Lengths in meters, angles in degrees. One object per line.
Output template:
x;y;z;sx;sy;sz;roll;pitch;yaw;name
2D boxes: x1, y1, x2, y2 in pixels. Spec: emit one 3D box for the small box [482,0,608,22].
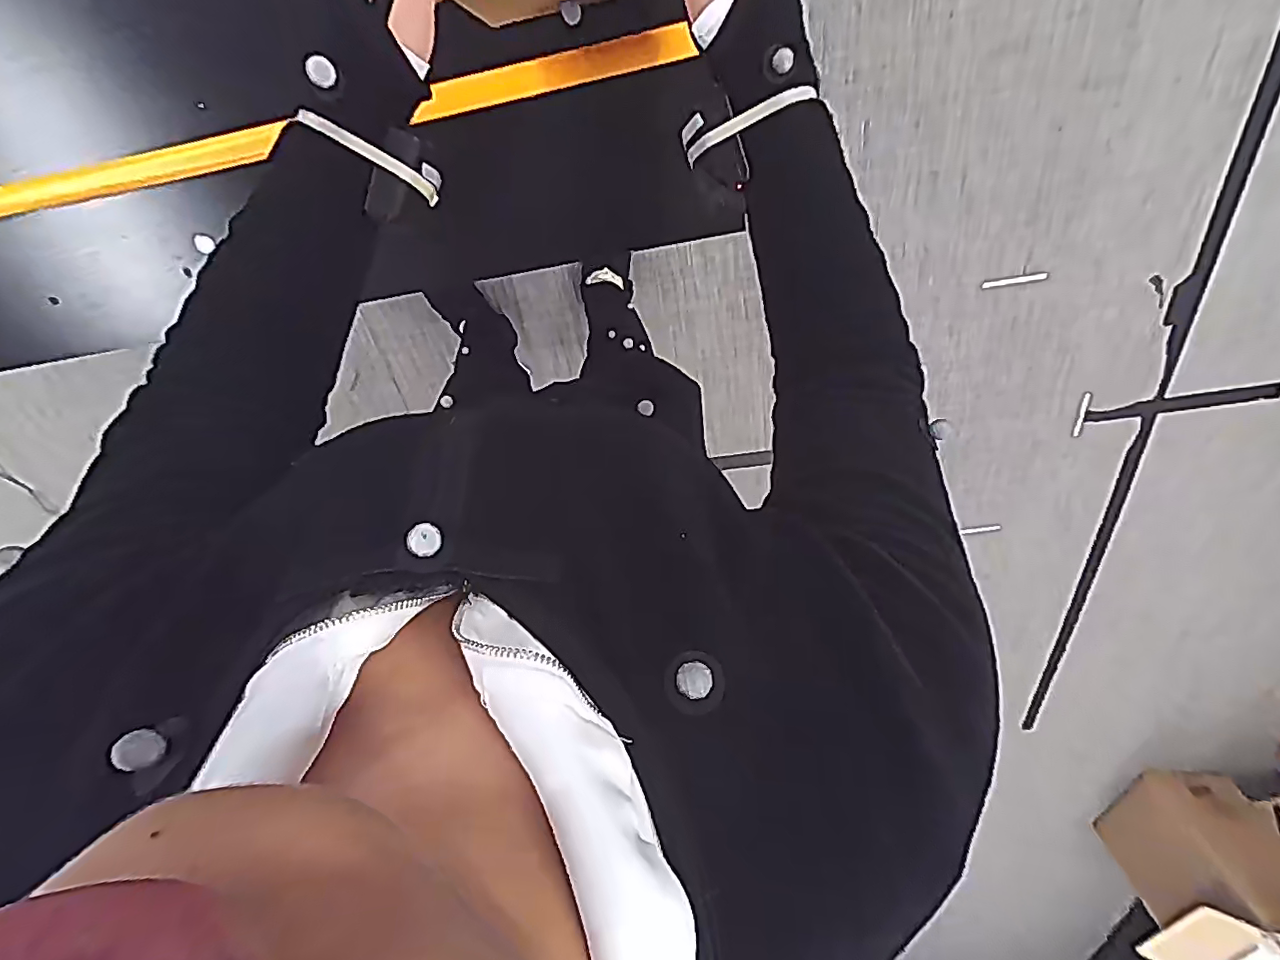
-0.065;-0.449;0.365;0.168;0.176;0.179;-9;123;5;small box
